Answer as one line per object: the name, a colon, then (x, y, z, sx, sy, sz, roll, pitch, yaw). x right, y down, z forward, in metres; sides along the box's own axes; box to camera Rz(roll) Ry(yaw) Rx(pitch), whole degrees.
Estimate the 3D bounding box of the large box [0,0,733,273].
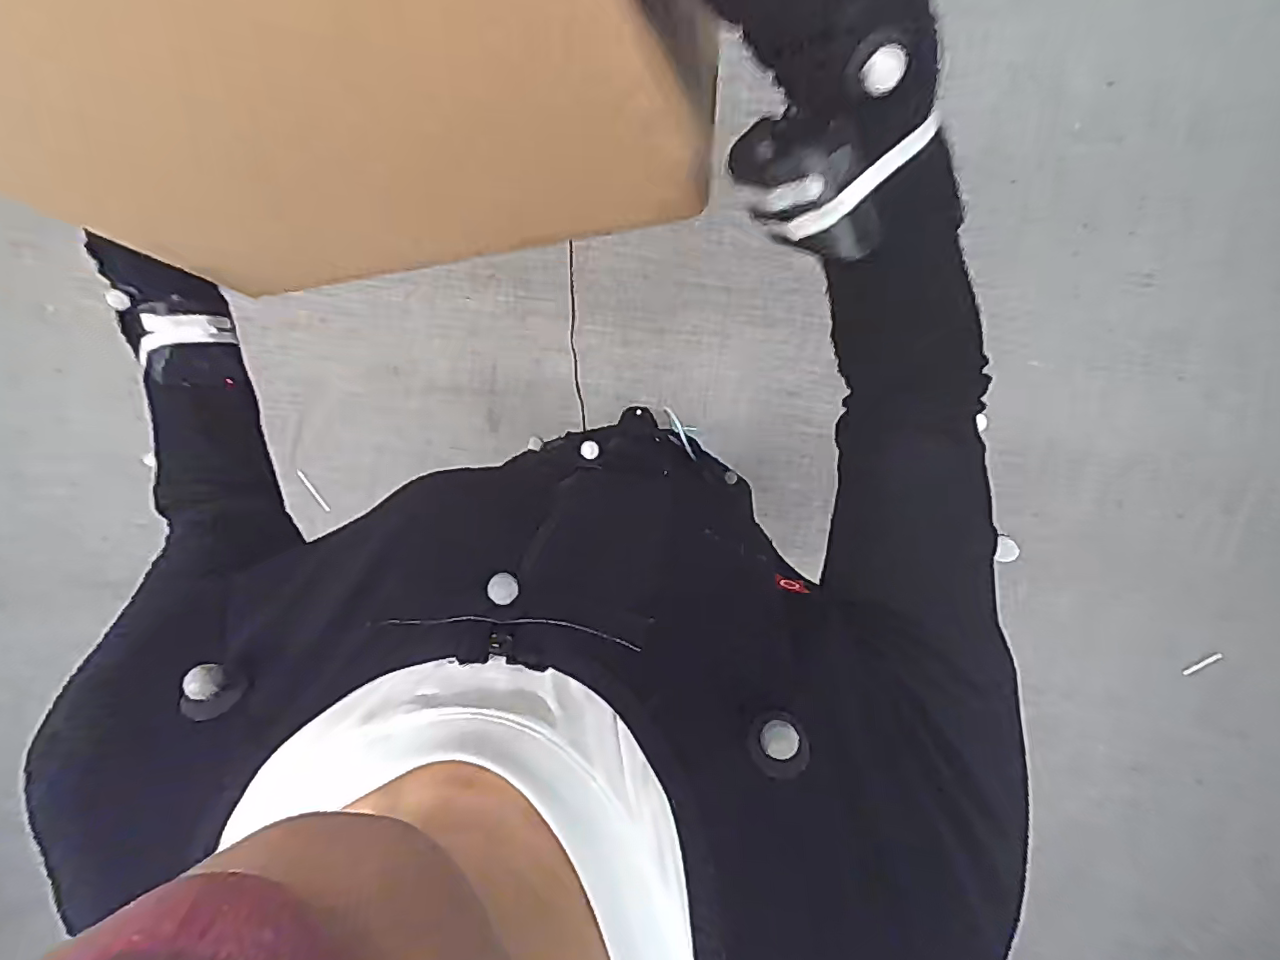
large box: (-0.178, -0.339, 0.263, 0.408, 0.320, 0.320, 0, 83, 20)
